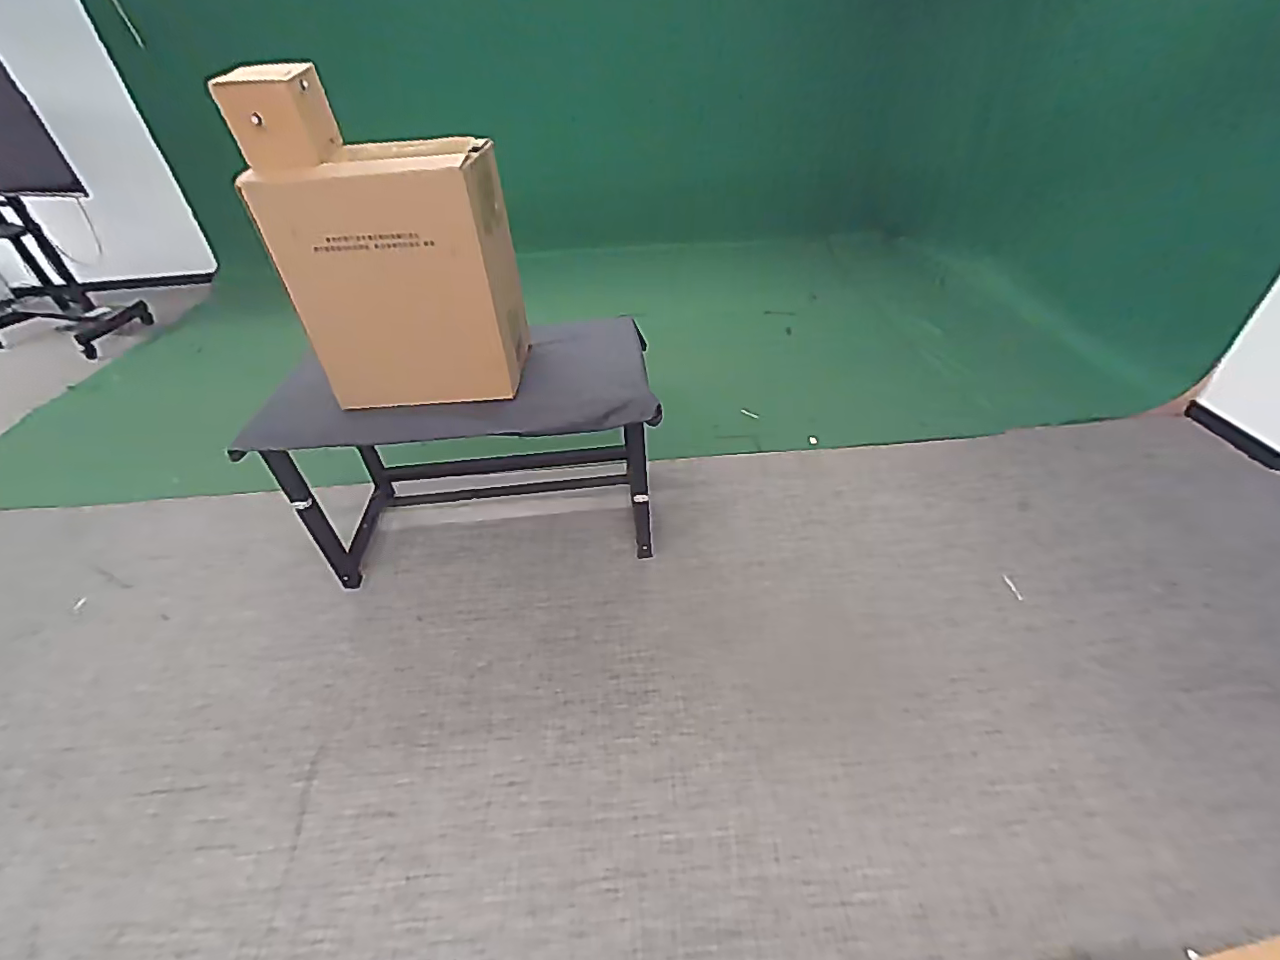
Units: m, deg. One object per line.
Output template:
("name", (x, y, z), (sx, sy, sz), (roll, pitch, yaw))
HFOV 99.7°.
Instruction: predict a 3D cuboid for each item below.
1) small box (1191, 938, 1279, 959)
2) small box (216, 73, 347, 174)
("small box", (0.932, 0.827, 0.803), (0.168, 0.176, 0.179), (-8, 37, -6))
("small box", (-0.849, -0.855, 1.301), (0.179, 0.176, 0.168), (-4, 48, 1))
